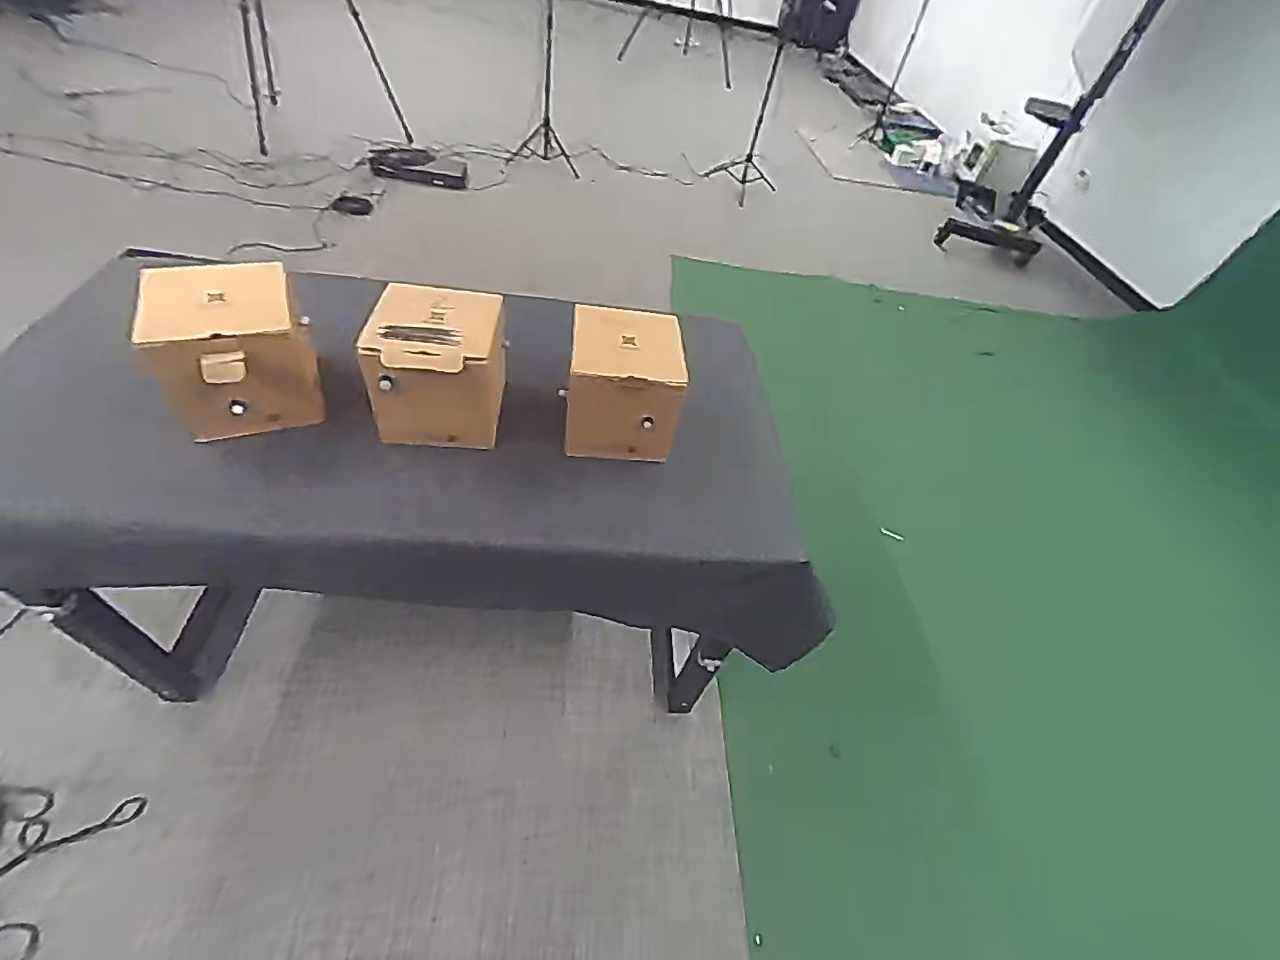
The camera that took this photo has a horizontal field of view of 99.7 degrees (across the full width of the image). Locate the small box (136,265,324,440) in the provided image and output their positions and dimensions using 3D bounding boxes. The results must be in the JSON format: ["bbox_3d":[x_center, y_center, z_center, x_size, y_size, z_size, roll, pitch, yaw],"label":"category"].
[{"bbox_3d":[-0.571,-0.184,0.773,0.168,0.176,0.179,-14,54,-23],"label":"small box"}]

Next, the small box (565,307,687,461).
[{"bbox_3d":[-0.030,-0.148,0.858,0.168,0.176,0.179,4,47,-10],"label":"small box"}]
